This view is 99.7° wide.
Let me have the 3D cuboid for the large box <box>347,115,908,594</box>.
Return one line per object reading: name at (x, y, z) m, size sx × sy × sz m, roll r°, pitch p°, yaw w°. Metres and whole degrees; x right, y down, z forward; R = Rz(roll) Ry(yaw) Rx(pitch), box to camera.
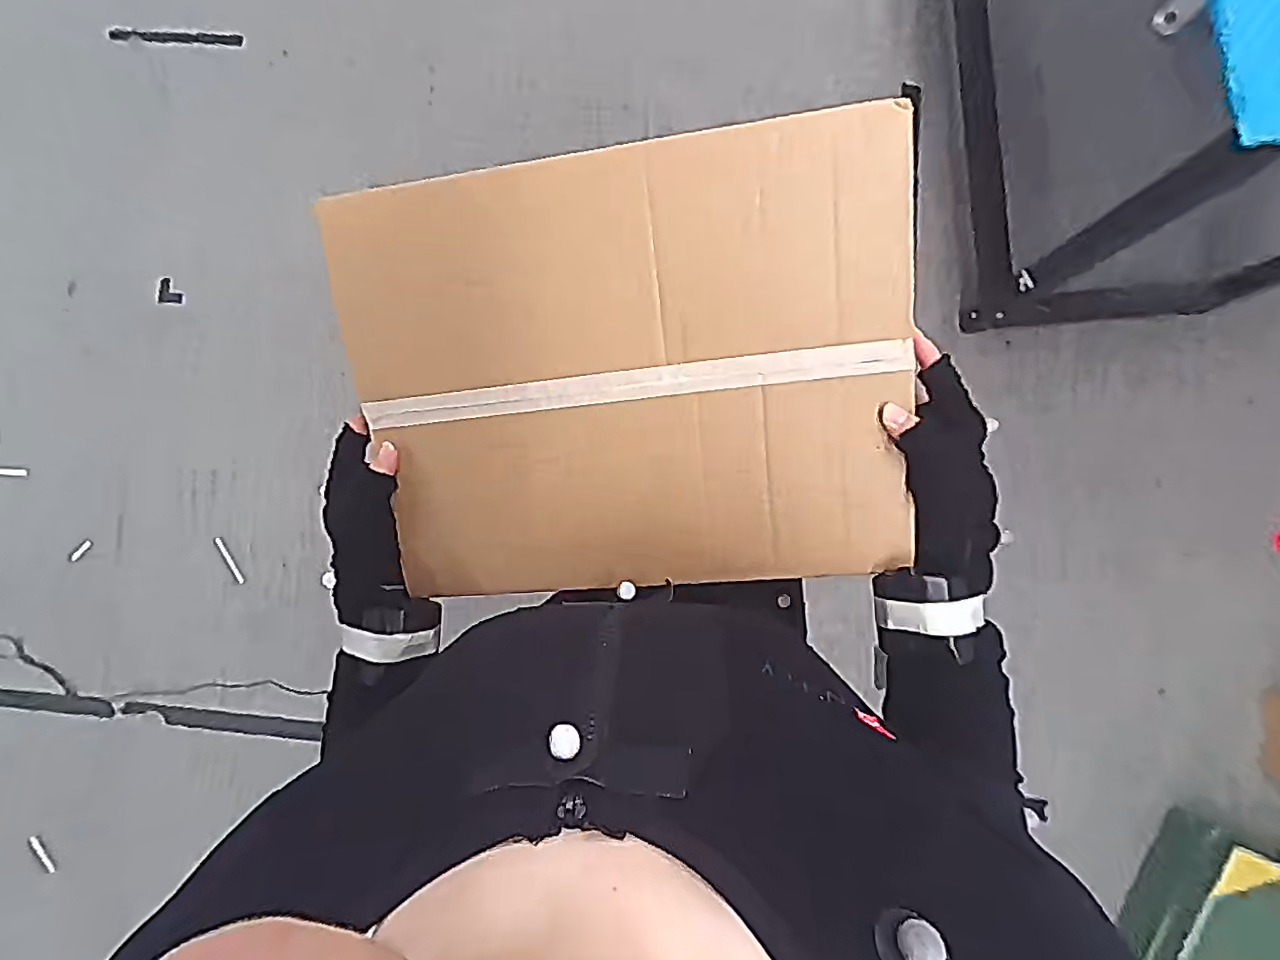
large box at (0.007, -0.103, 0.554) m, size 0.408 × 0.320 × 0.320 m, roll -5°, pitch 104°, yaw 8°
